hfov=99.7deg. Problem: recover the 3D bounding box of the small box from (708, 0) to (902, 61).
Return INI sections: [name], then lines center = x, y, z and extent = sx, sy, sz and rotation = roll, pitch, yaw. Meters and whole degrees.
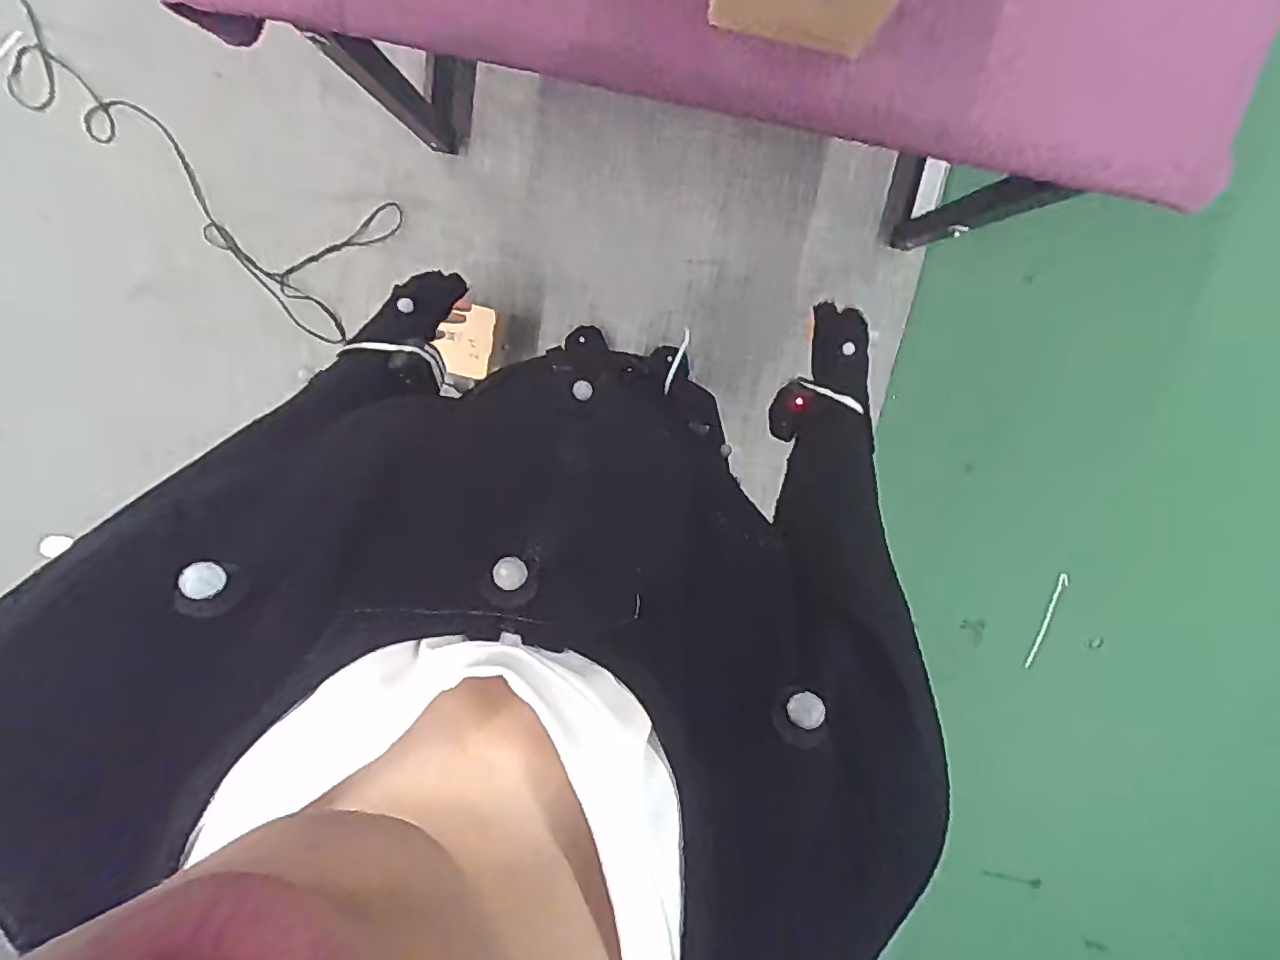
[small box]
center = 0.177, -0.552, 0.525
extent = 0.179, 0.176, 0.168
rotation = 12, 103, -3
